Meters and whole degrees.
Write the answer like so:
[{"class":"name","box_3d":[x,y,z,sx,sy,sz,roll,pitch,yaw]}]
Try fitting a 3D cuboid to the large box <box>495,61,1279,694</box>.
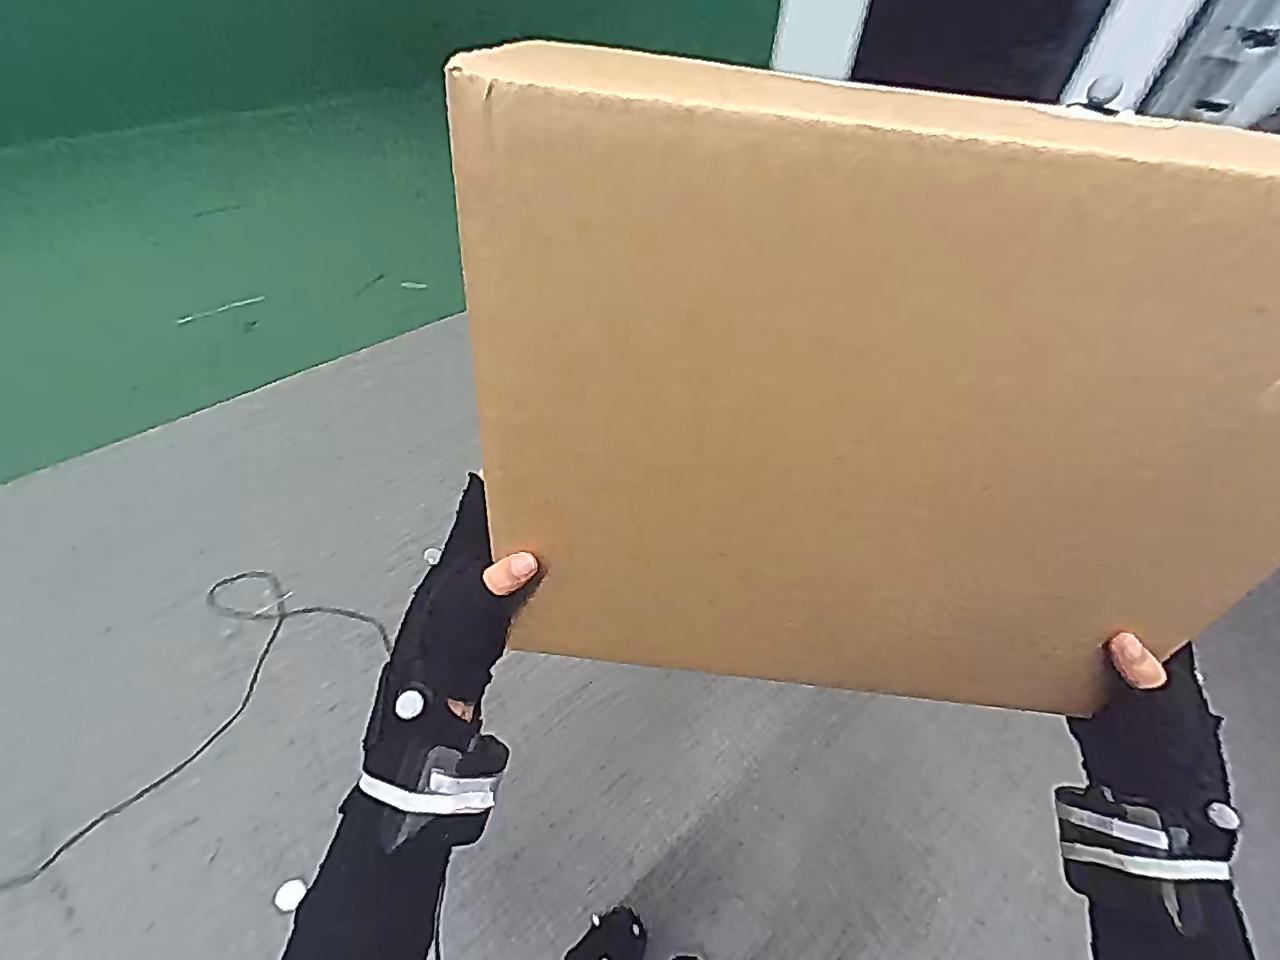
[{"class":"large box","box_3d":[0.132,-0.077,0.391,0.408,0.320,0.320,7,39,-3]}]
